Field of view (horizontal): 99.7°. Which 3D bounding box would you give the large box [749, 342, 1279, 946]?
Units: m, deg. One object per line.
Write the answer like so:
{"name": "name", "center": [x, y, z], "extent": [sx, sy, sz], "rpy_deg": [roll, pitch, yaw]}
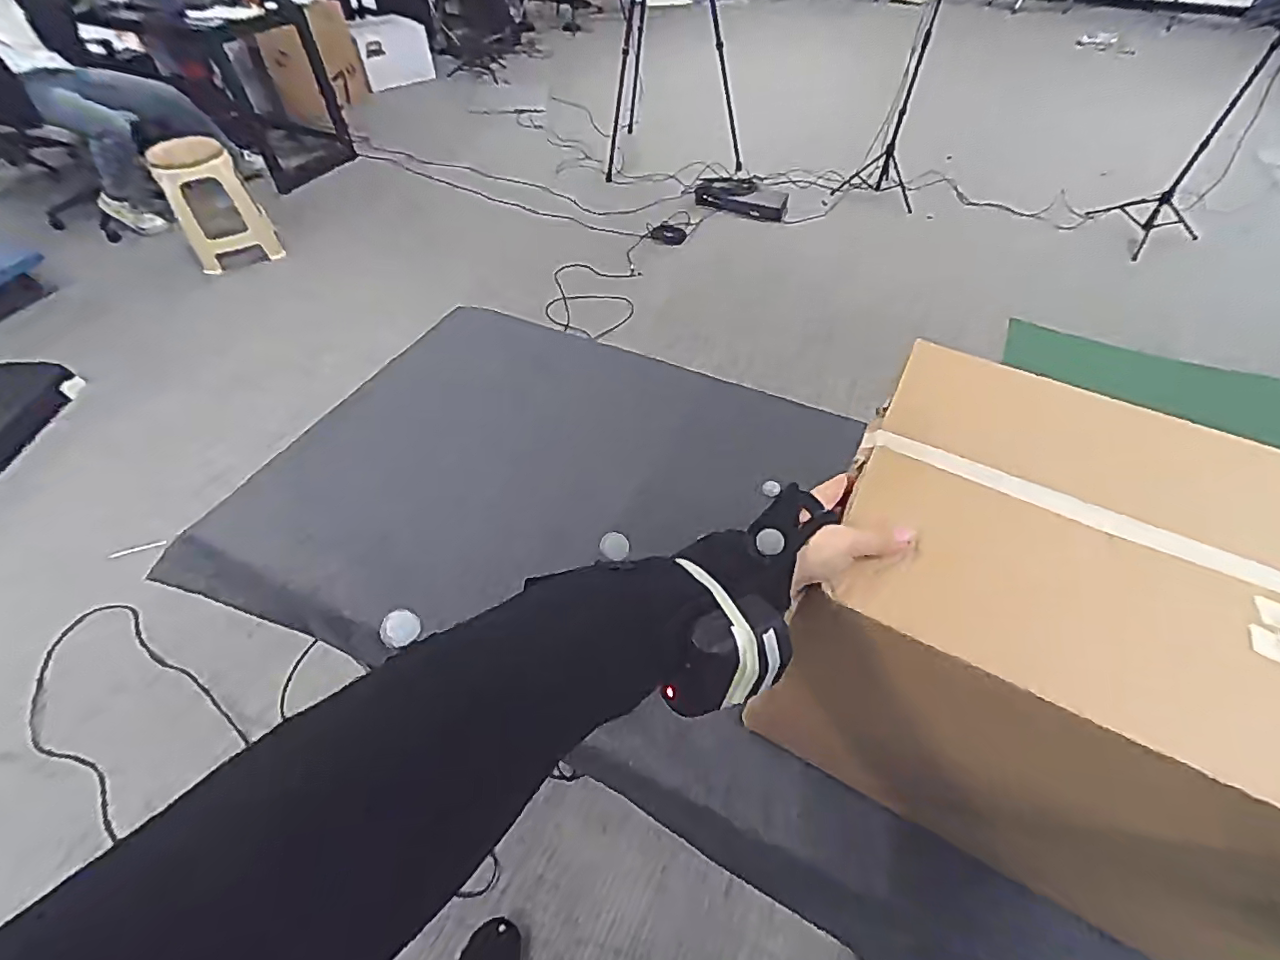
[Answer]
{"name": "large box", "center": [0.362, 0.136, 0.498], "extent": [0.408, 0.320, 0.320], "rpy_deg": [25, 55, 16]}
